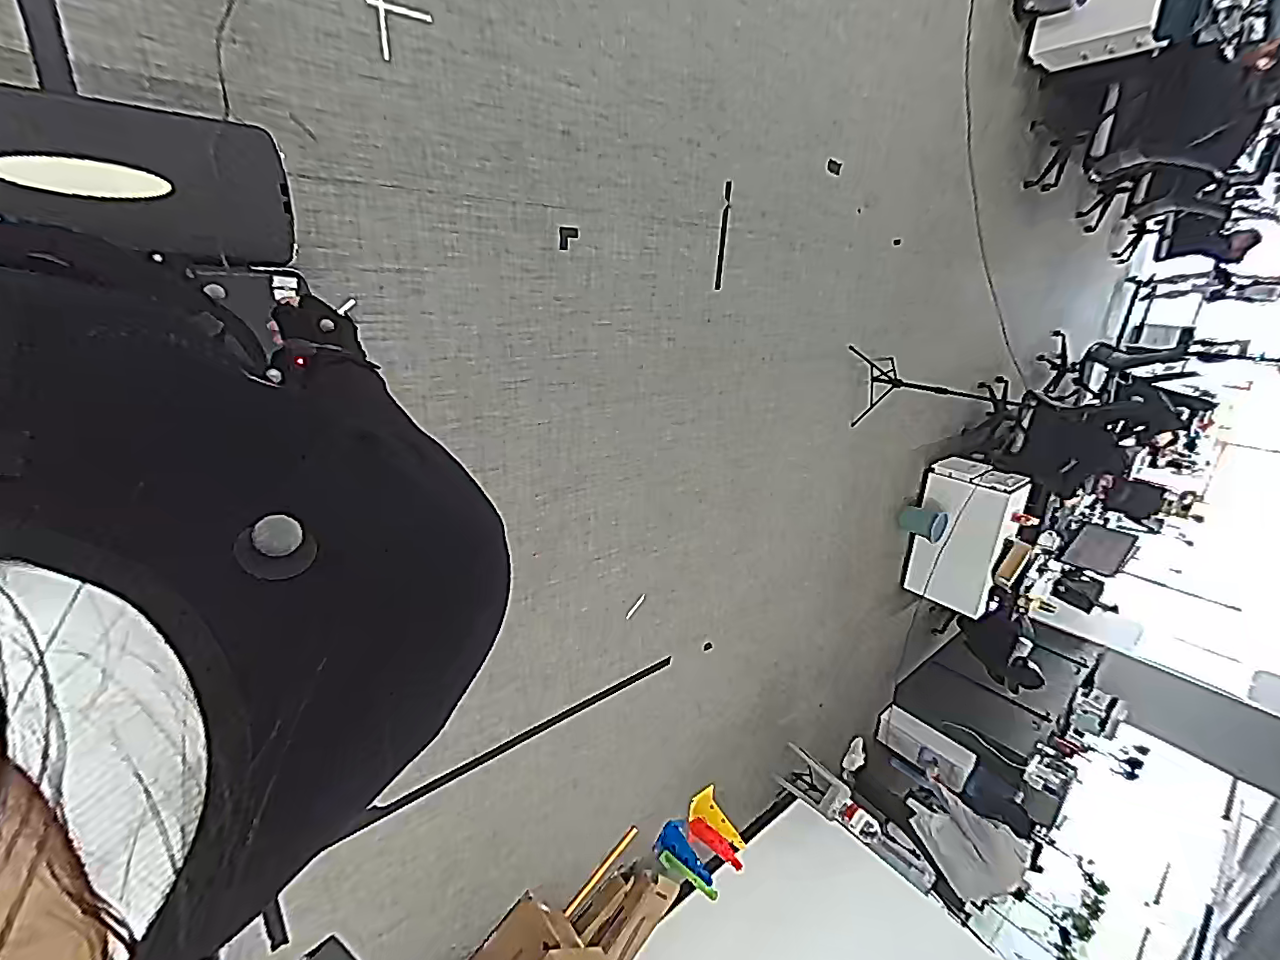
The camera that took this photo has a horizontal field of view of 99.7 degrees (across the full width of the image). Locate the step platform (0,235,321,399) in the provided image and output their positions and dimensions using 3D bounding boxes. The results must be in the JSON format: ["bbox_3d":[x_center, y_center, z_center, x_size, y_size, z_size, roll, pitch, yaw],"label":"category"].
[{"bbox_3d":[-1.047,-0.334,1.099,0.684,0.204,0.286,-14,115,-36],"label":"step platform"}]
